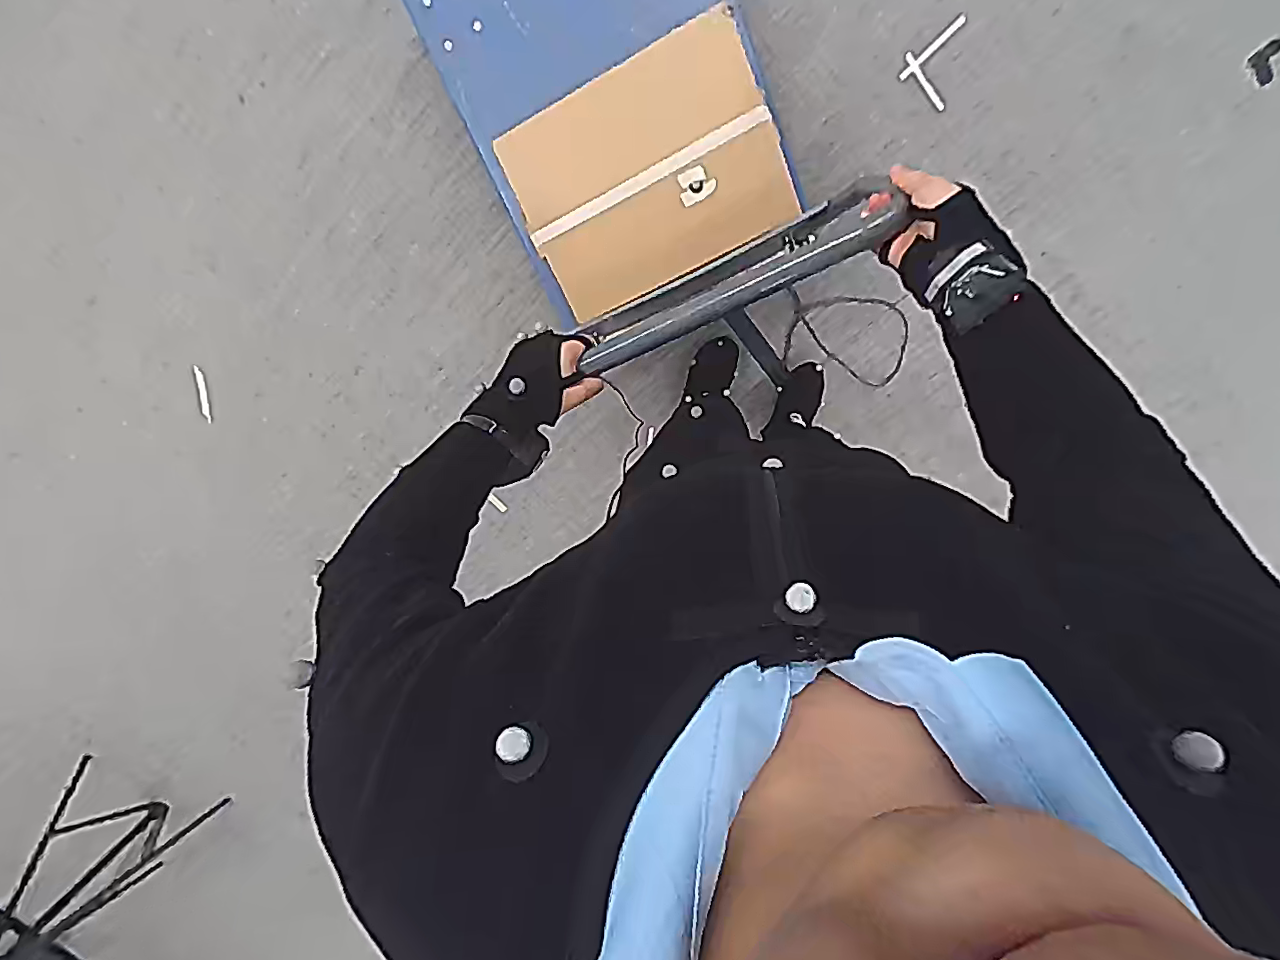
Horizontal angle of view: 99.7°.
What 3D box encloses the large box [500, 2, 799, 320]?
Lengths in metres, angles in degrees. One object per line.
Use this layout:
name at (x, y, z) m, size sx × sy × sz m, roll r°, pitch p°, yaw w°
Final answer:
large box at (0.024, -0.533, 1.003) m, size 0.408 × 0.320 × 0.320 m, roll -24°, pitch 106°, yaw 12°
